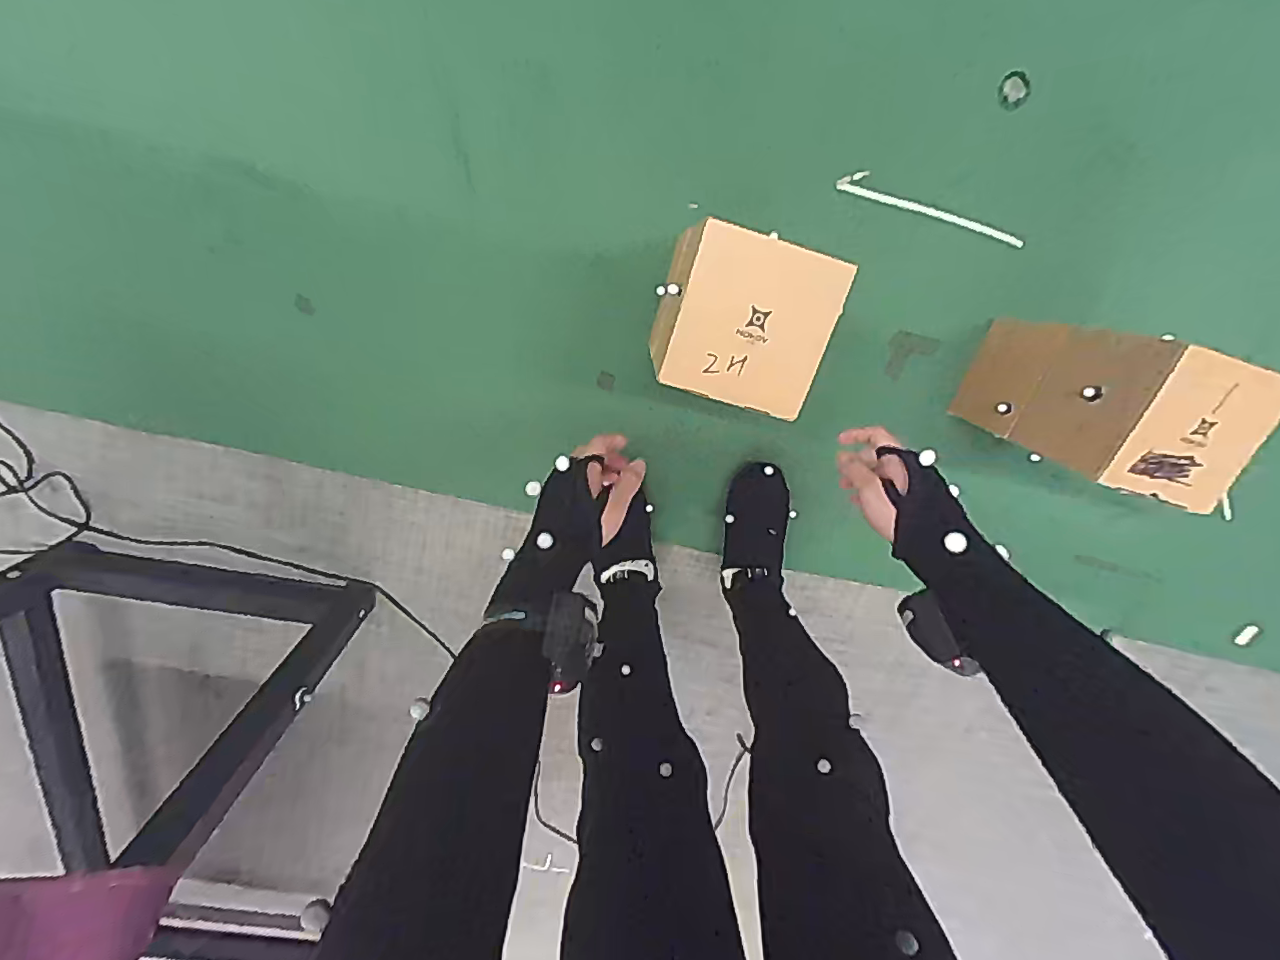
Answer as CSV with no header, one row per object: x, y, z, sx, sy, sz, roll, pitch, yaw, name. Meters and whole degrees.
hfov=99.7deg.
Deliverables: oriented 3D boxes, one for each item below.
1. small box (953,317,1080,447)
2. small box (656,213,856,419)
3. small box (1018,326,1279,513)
0.641,-0.148,0.857,0.168,0.176,0.179,14,112,-7,small box
0.119,-0.195,0.647,0.168,0.176,0.179,16,111,-7,small box
0.646,-0.085,0.705,0.168,0.176,0.179,15,111,-8,small box
